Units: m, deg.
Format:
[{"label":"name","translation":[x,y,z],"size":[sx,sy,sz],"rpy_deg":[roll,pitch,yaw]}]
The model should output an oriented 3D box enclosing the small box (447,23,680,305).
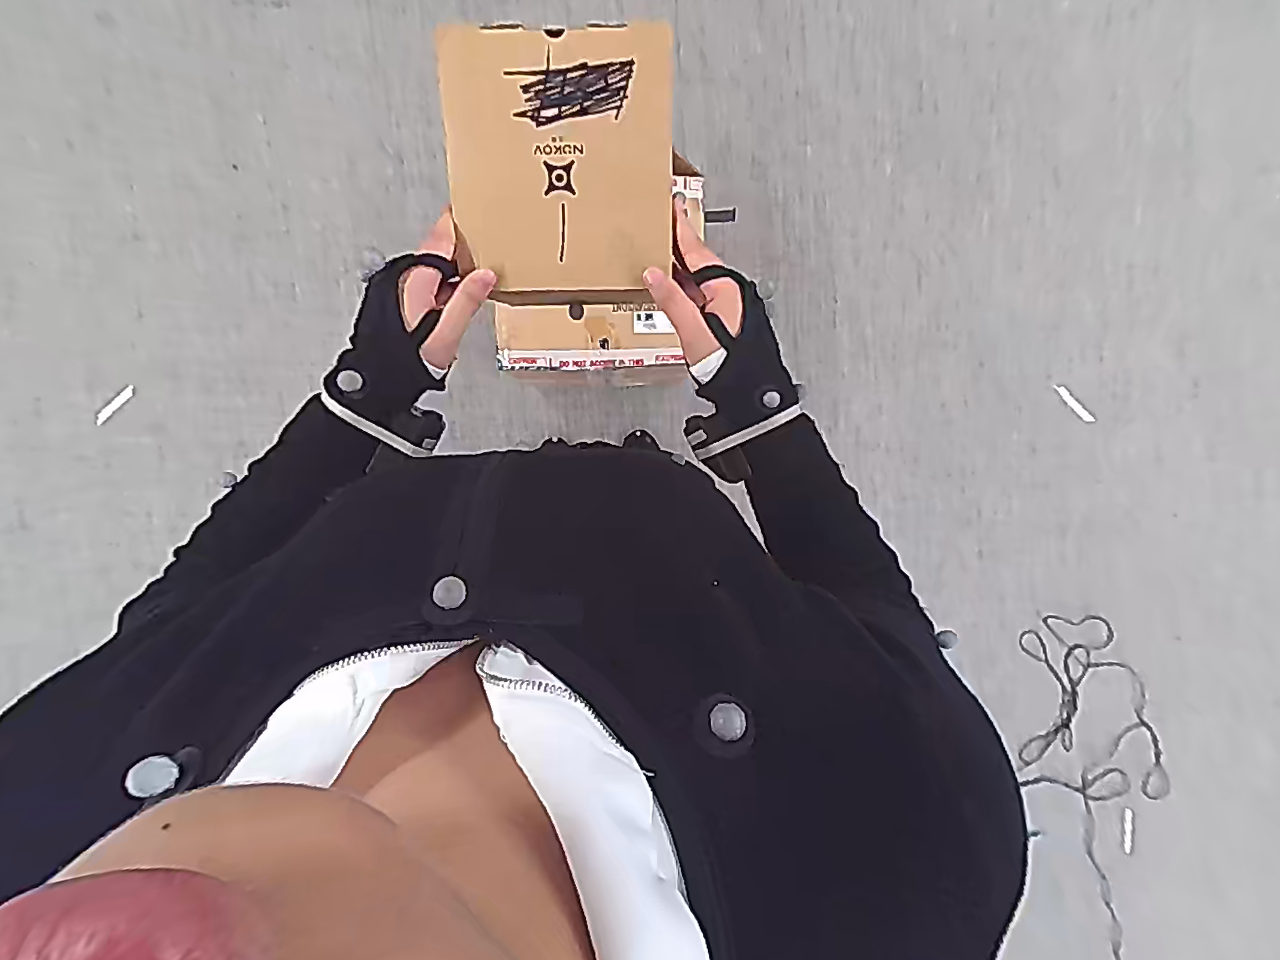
[{"label":"small box","translation":[-0.055,-0.252,0.474],"size":[0.168,0.176,0.179],"rpy_deg":[0,104,0]}]
